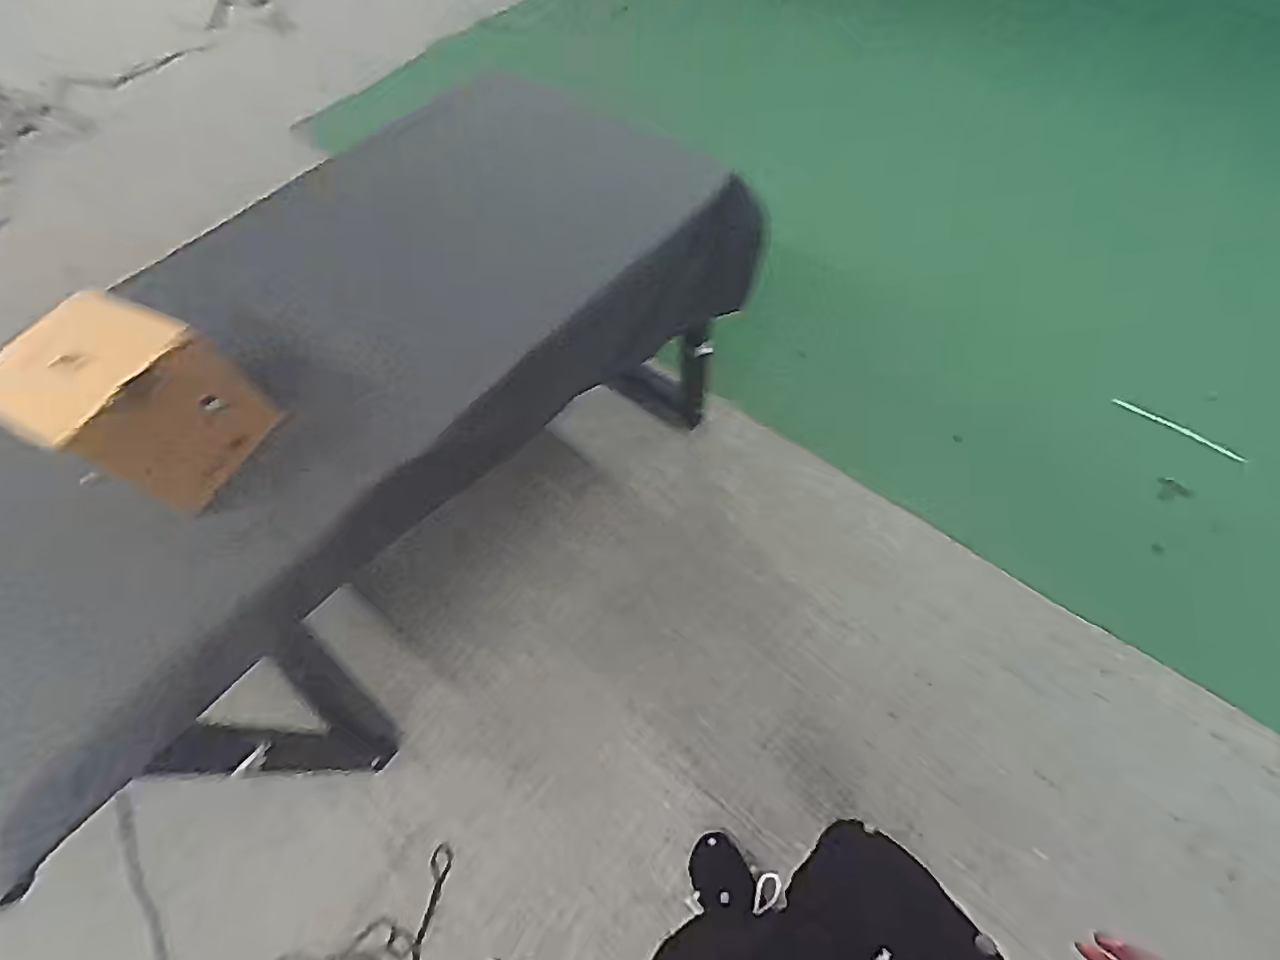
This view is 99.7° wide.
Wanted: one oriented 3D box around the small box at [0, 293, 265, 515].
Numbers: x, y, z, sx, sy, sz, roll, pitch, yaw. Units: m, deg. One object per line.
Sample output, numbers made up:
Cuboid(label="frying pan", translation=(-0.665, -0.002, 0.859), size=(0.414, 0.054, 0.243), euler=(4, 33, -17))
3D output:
Cuboid(label="small box", translation=(-0.596, -0.079, 0.626), size=(0.179, 0.176, 0.168), euler=(19, 63, 15))
